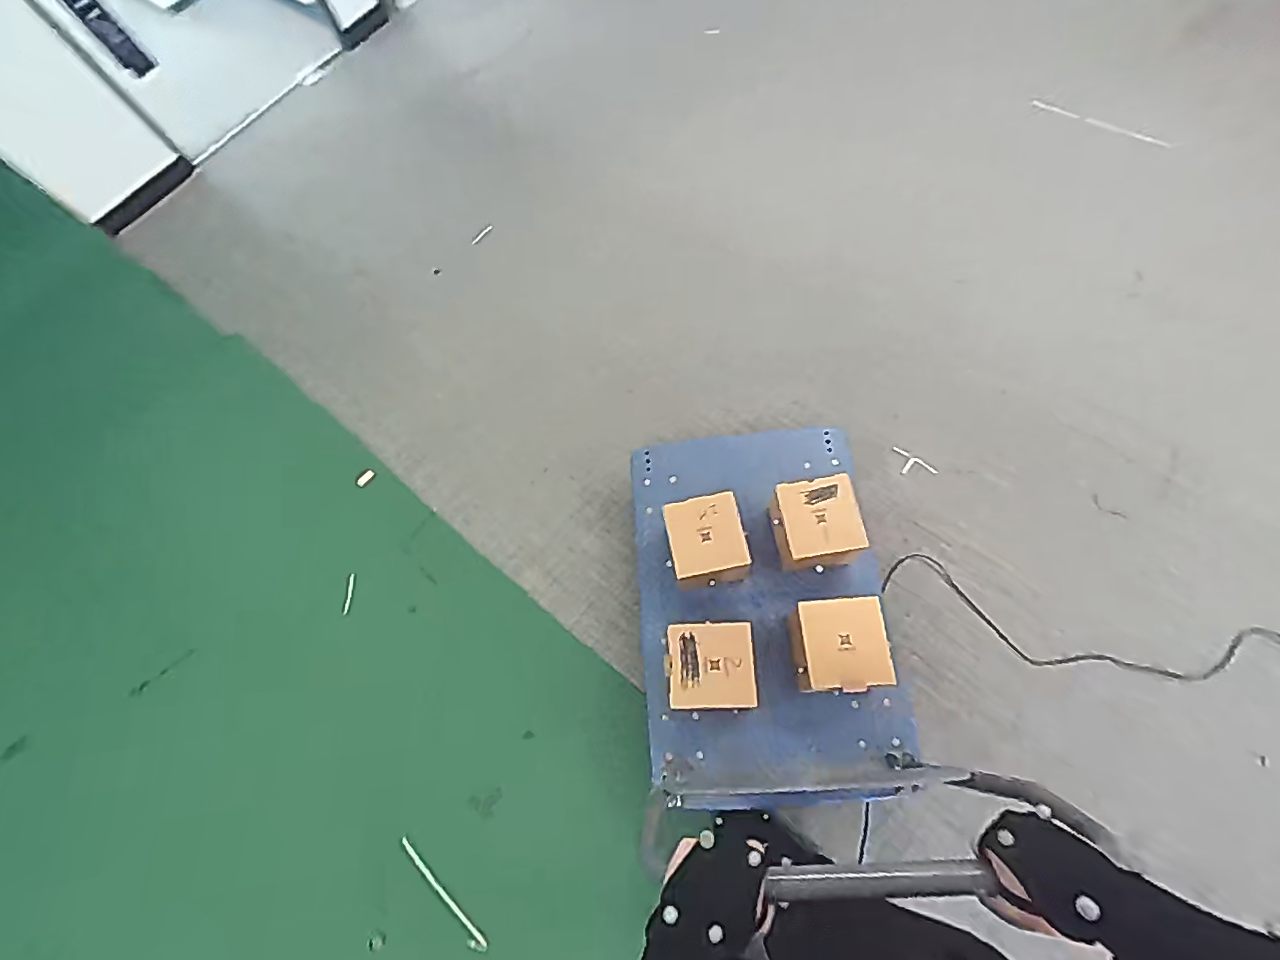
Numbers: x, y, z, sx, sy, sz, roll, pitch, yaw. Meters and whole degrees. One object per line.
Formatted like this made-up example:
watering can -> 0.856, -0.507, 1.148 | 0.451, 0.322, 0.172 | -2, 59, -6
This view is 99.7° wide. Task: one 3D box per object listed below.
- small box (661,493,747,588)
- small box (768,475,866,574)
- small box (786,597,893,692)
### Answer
small box -> 0.150, 0.151, 1.279 | 0.168, 0.176, 0.179 | -11, 68, 1
small box -> 0.403, 0.109, 1.265 | 0.168, 0.176, 0.179 | -10, 68, 4
small box -> 0.419, 0.359, 1.167 | 0.168, 0.176, 0.179 | -5, 68, 5
